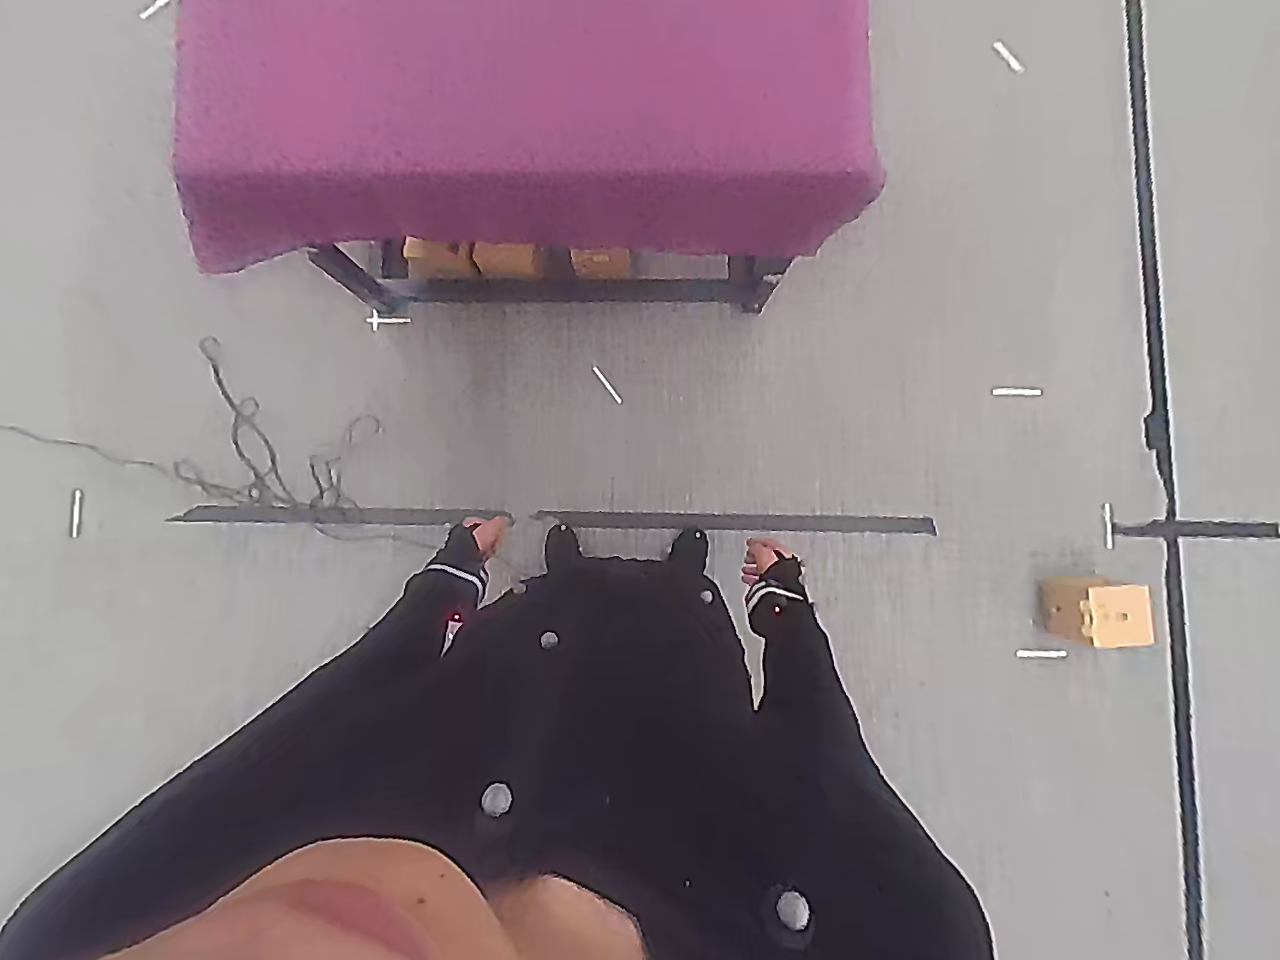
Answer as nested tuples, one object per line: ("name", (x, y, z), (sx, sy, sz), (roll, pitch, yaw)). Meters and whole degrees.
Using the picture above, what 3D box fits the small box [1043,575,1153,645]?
("small box", (1.315, 0.370, 1.560), (0.179, 0.176, 0.168), (-3, 87, 0))
